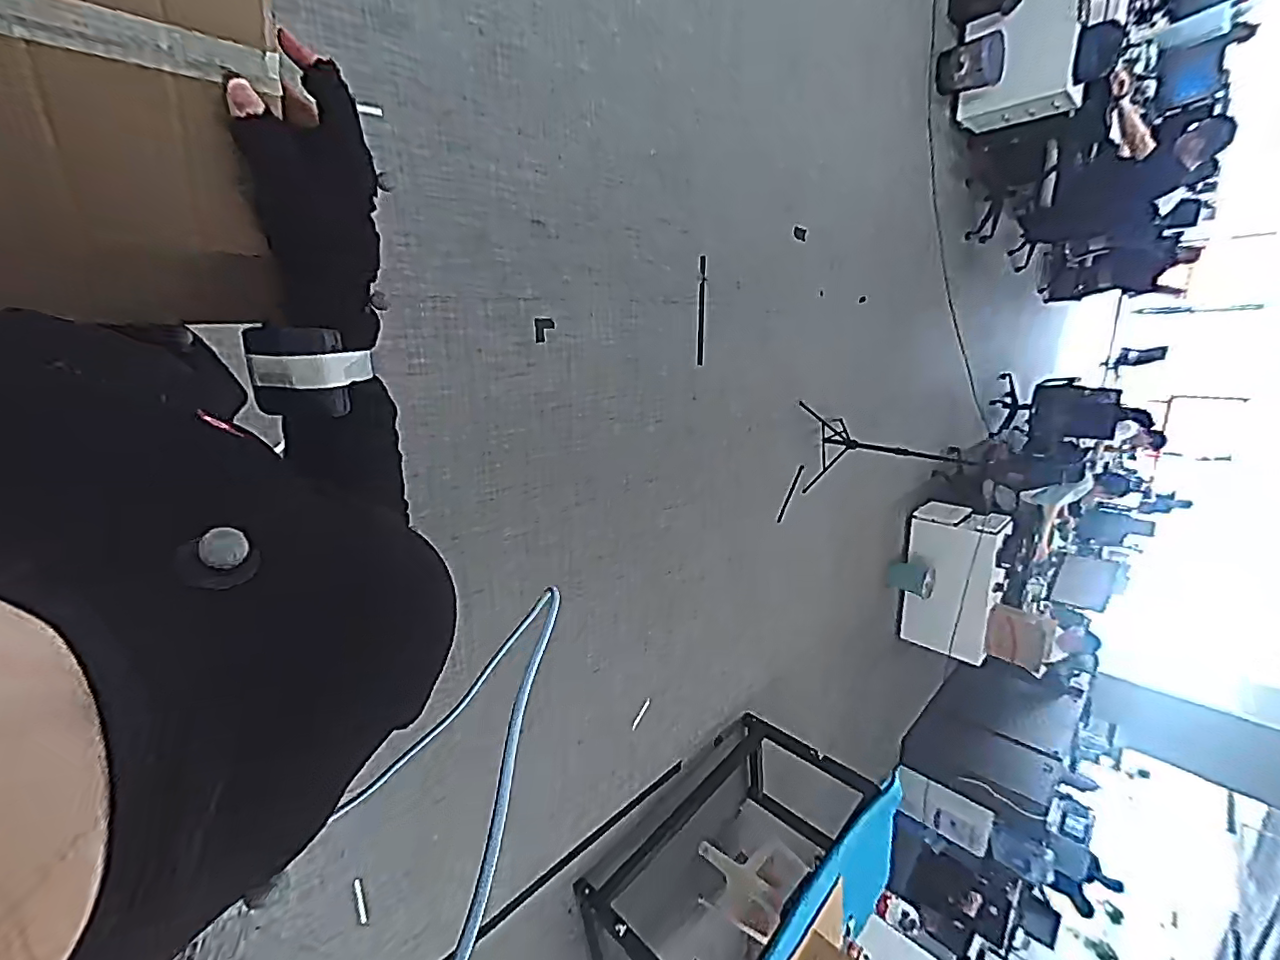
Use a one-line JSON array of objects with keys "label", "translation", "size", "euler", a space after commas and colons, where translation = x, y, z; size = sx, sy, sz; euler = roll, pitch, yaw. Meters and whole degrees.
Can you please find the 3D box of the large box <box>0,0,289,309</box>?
[{"label": "large box", "translation": [-0.448, -0.296, 0.254], "size": [0.408, 0.320, 0.320], "euler": [-15, 144, -40]}]
